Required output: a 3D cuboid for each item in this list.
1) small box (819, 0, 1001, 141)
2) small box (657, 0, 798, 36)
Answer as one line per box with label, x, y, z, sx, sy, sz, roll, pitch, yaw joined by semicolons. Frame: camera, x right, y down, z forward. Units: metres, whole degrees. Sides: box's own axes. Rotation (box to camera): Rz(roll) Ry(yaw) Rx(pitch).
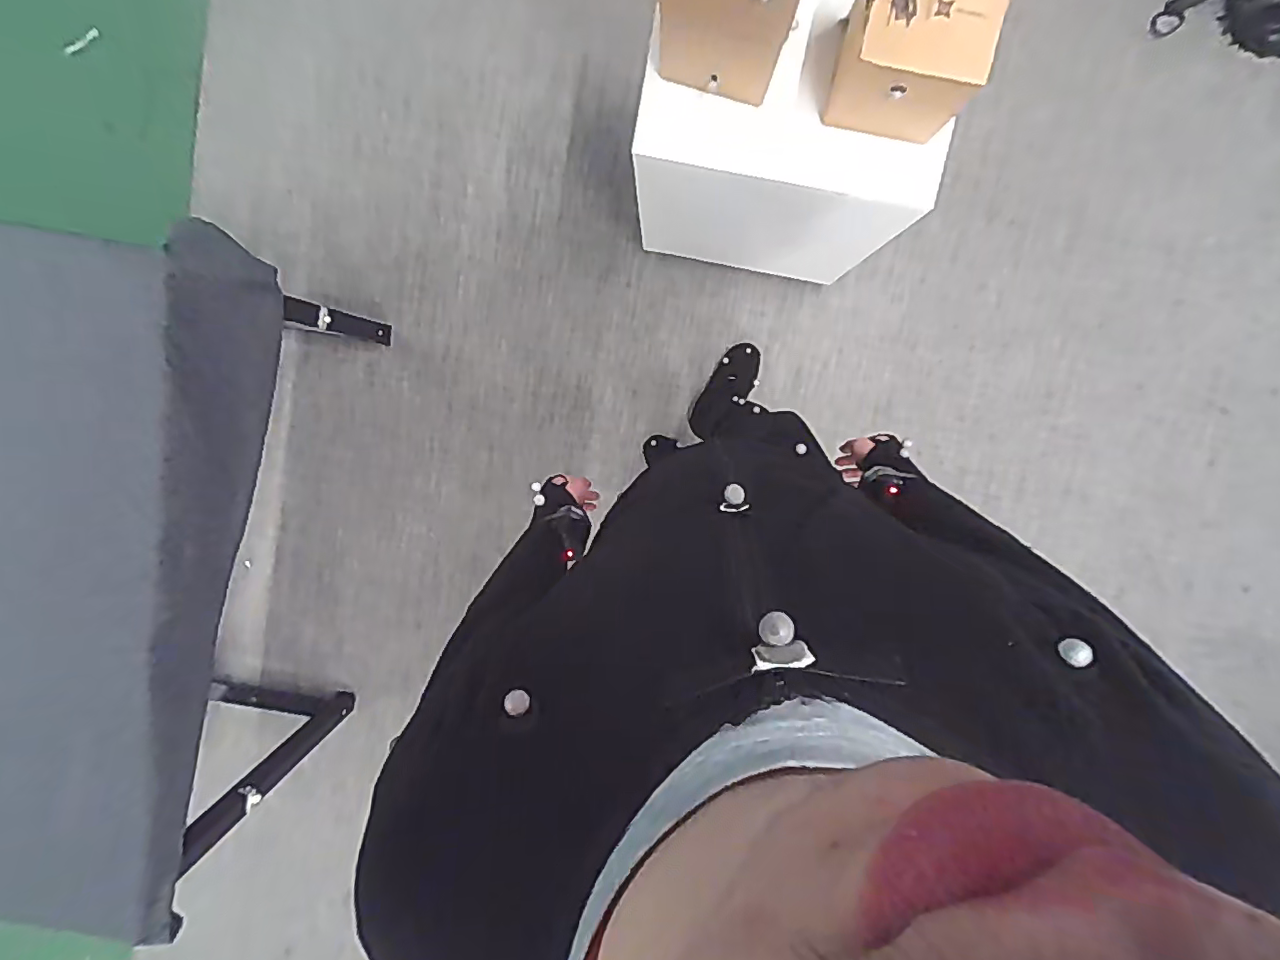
small box;0.380;-0.625;0.781;0.179;0.176;0.168;11;97;-2
small box;0.121;-0.656;0.612;0.179;0.176;0.168;12;96;-1
